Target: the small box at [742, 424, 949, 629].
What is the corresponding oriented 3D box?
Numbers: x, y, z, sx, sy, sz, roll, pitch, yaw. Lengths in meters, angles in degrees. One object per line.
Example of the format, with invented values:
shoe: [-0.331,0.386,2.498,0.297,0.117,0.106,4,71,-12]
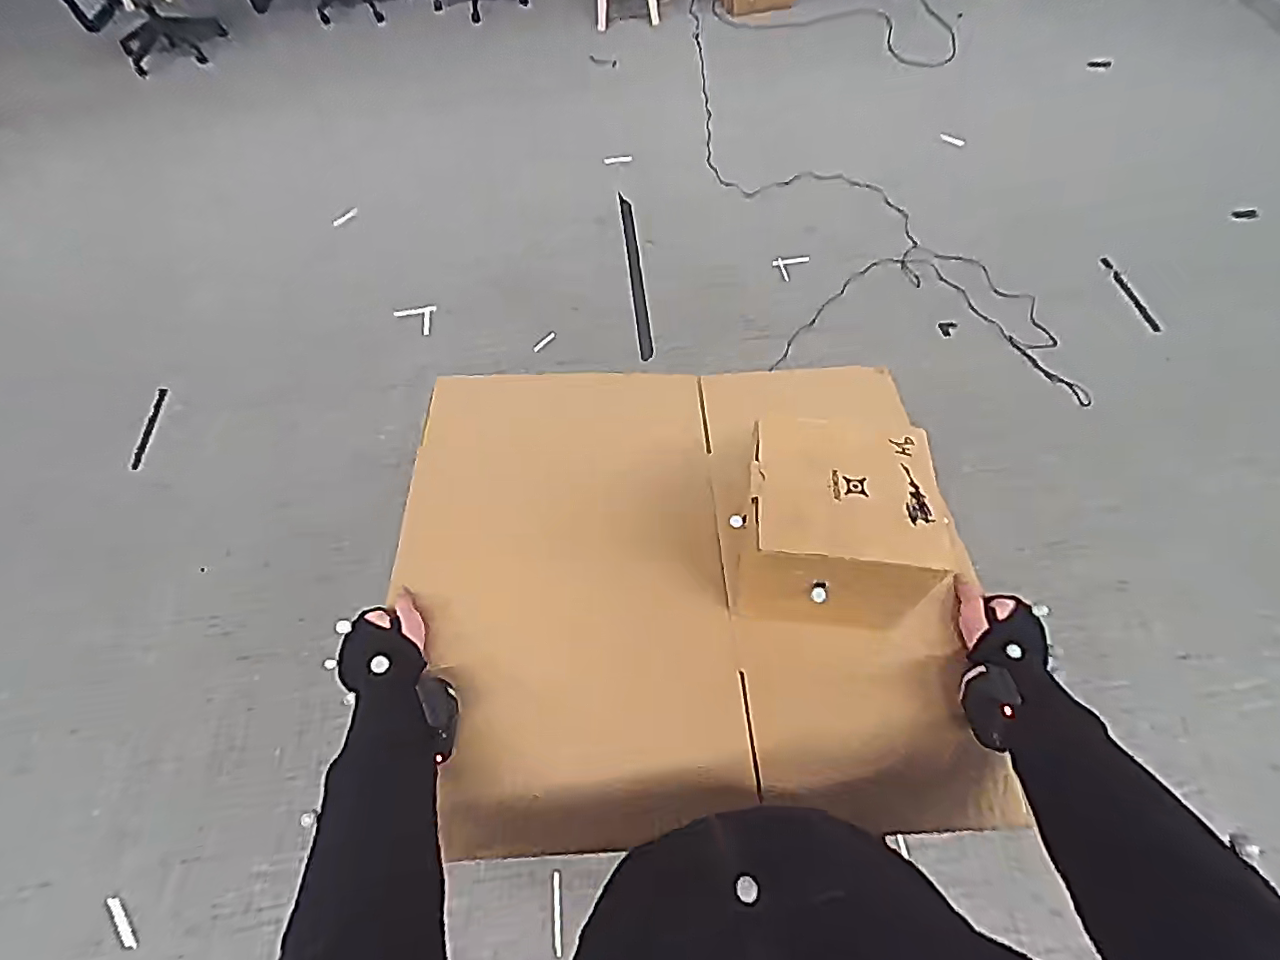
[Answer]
small box: [0.209,0.056,0.606,0.179,0.176,0.168,4,57,6]
